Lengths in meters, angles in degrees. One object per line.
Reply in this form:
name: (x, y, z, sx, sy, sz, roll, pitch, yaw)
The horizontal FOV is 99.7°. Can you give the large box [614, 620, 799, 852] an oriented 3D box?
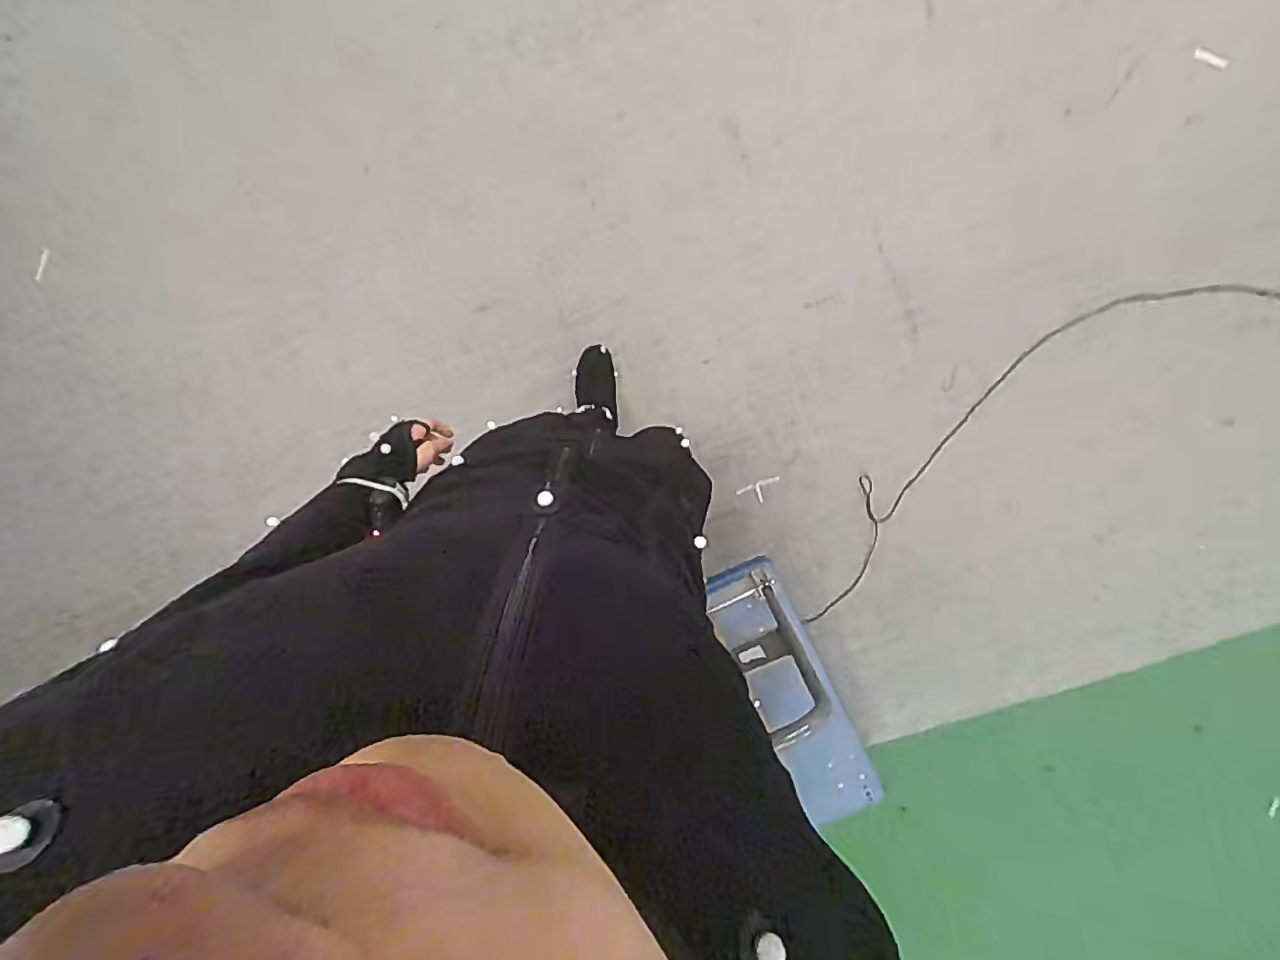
large box: (0.163, 0.660, 1.442, 0.320, 0.320, 0.408, -27, 101, 7)
